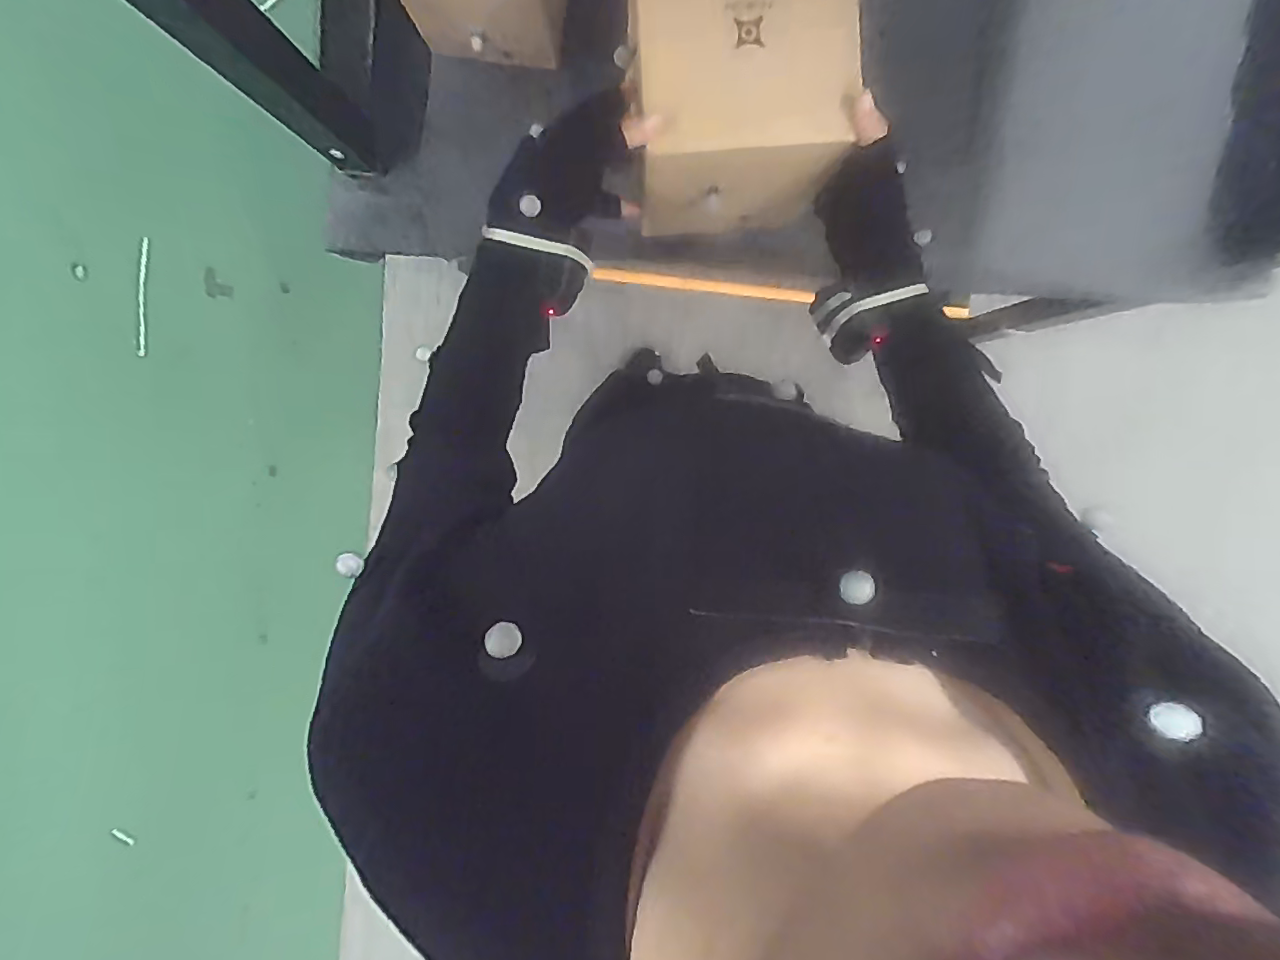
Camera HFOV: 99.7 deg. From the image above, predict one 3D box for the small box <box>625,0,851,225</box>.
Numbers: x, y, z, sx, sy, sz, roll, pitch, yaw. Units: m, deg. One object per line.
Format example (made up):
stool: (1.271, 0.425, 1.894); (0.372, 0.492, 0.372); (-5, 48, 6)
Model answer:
small box: (0.074, -0.344, 0.482); (0.168, 0.176, 0.179); (-4, 94, -1)

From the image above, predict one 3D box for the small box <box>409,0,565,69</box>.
small box: (-0.175, -0.606, 0.594); (0.168, 0.176, 0.179); (8, 97, 0)
